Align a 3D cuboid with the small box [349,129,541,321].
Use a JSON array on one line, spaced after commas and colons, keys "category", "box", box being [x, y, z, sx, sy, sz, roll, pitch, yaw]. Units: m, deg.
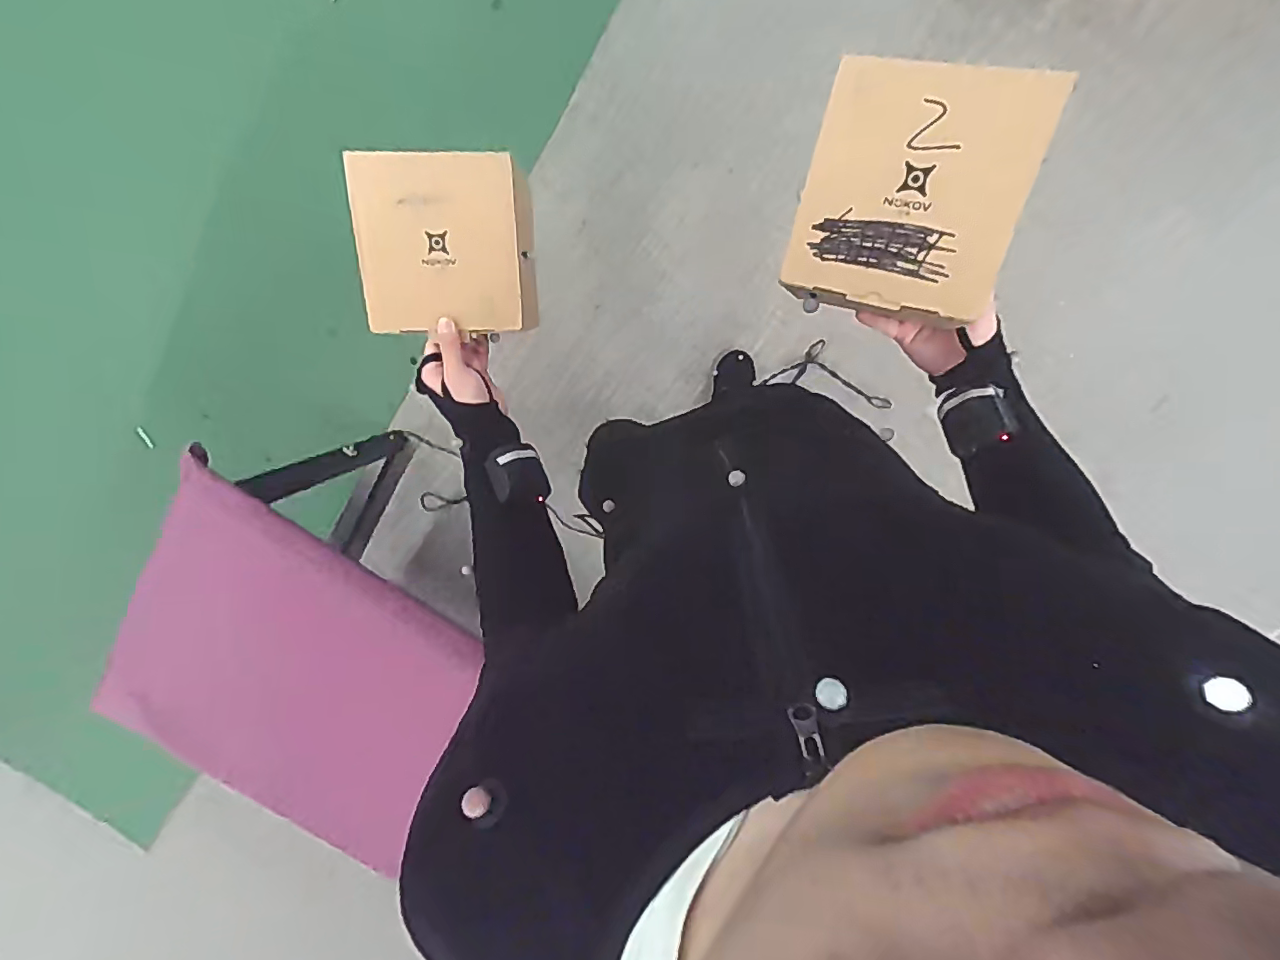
[{"category": "small box", "box": [-0.208, -0.281, 0.629, 0.168, 0.176, 0.179, 0, 108, -4]}]
